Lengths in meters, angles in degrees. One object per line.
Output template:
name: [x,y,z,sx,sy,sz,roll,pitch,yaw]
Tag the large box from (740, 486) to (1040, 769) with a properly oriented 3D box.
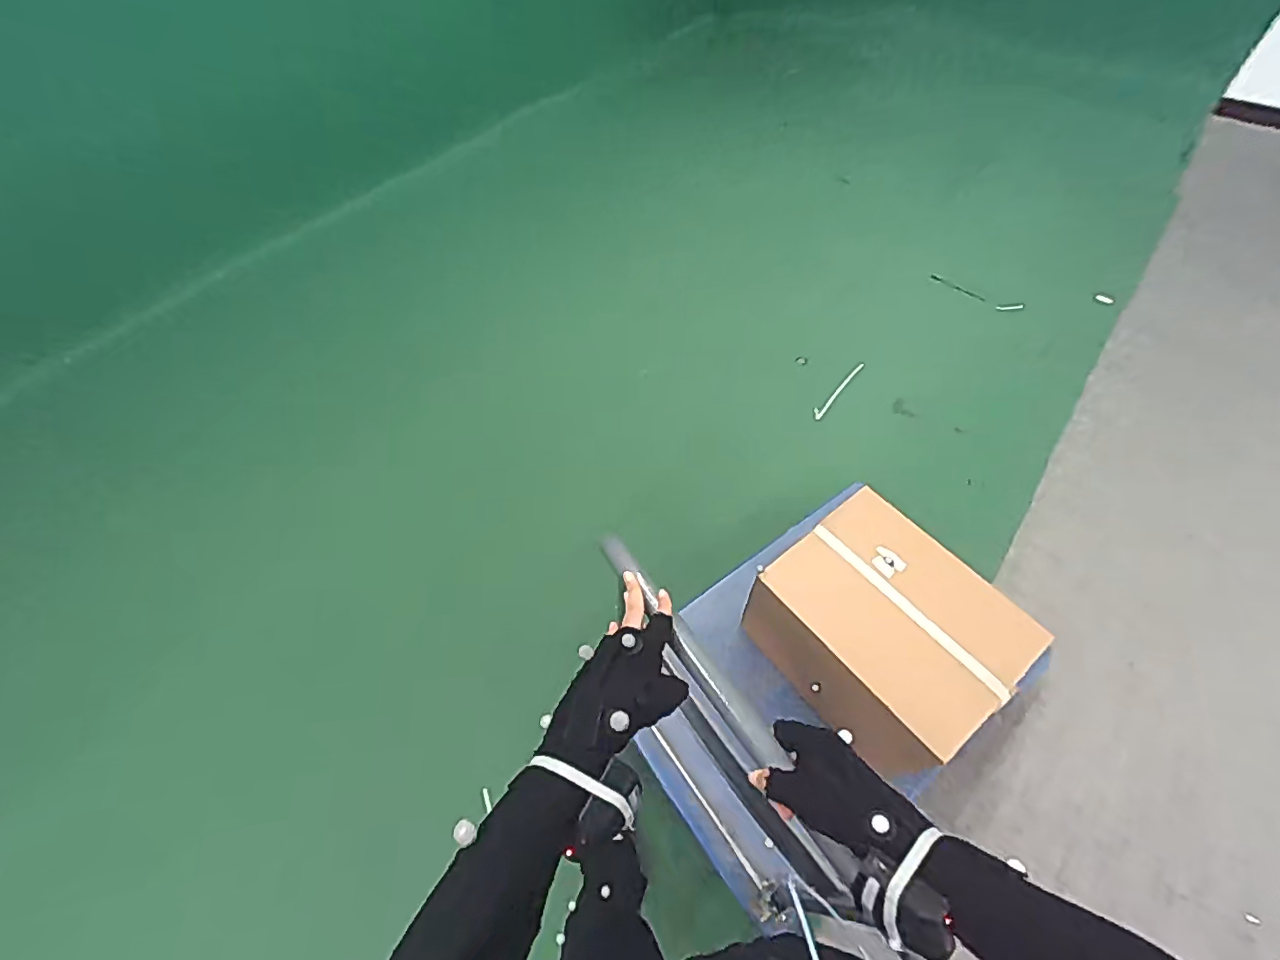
large box: [0.463,0.299,1.100,0.320,0.320,0.408,-34,61,-19]
